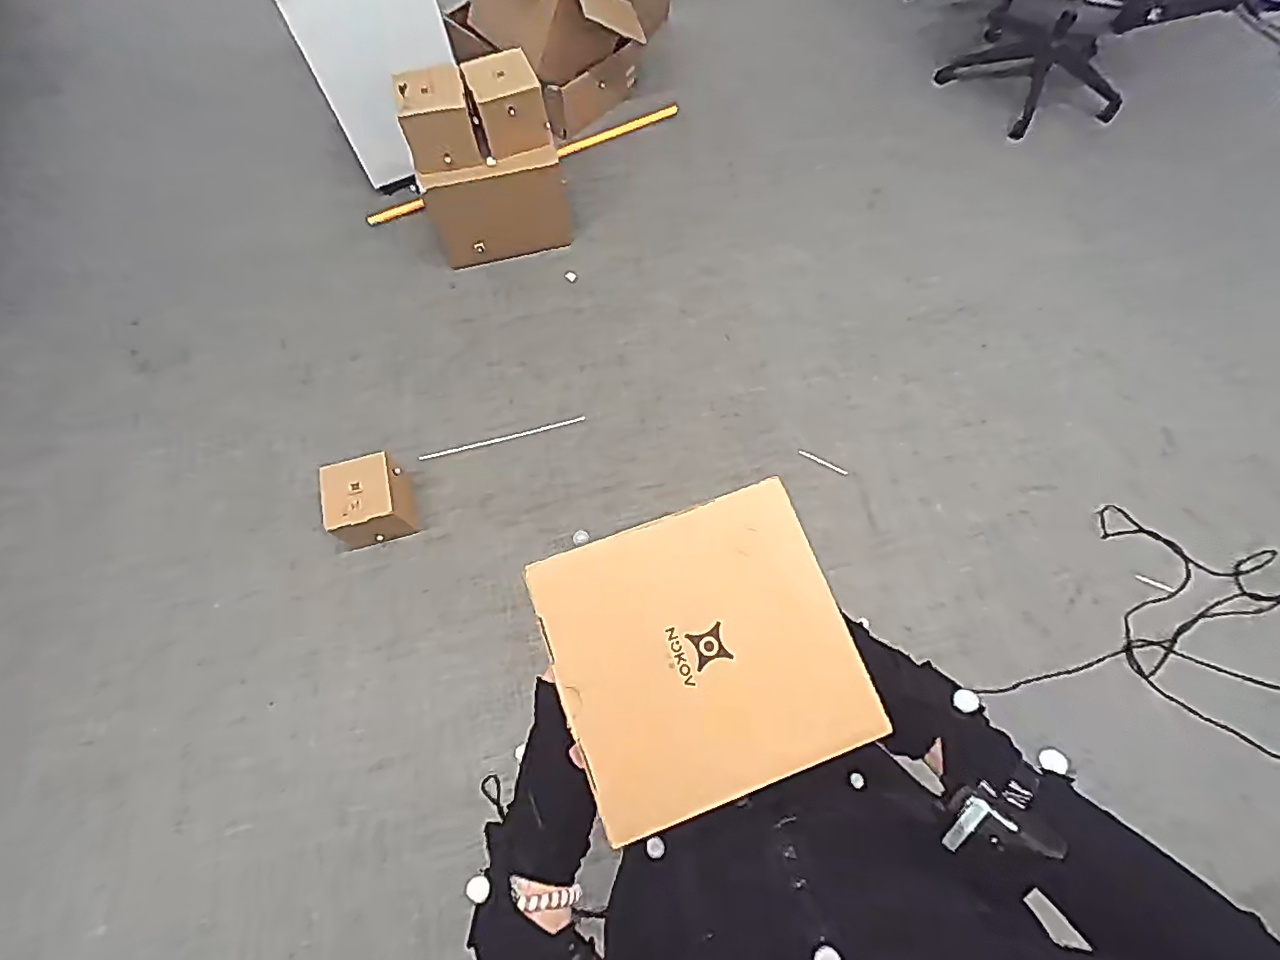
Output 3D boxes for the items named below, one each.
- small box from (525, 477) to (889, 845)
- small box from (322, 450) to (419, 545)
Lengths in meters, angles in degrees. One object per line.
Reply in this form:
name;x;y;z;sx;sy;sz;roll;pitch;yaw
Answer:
small box;0.036;0.116;0.396;0.179;0.176;0.168;-20;77;-4
small box;-0.694;0.050;1.402;0.168;0.176;0.179;-15;69;-5
